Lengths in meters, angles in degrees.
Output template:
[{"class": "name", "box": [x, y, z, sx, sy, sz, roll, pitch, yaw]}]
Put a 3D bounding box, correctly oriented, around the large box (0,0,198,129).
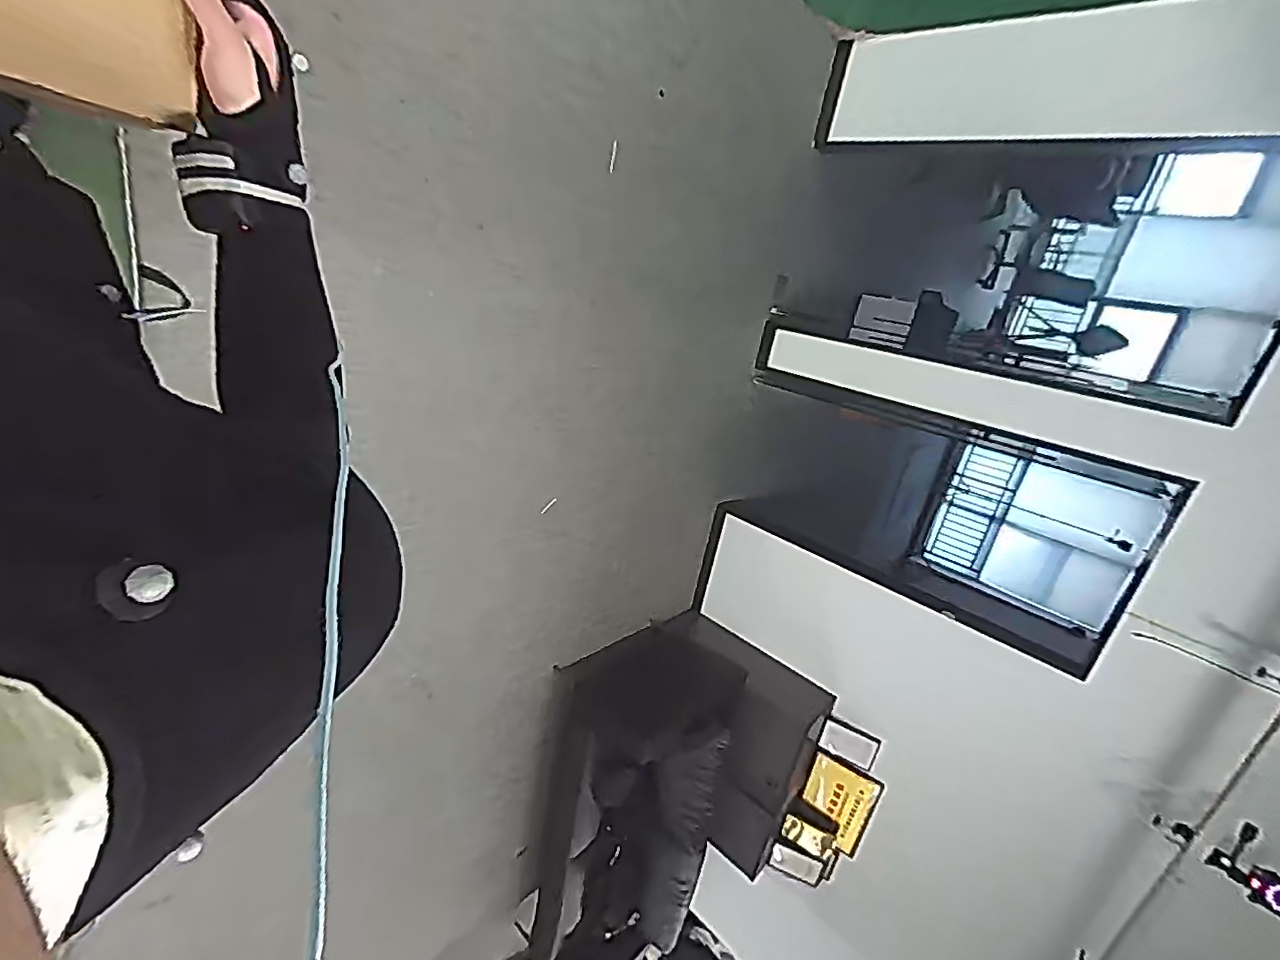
[{"class": "large box", "box": [-0.562, -0.454, 0.323, 0.408, 0.320, 0.320, -9, 120, -50]}]
